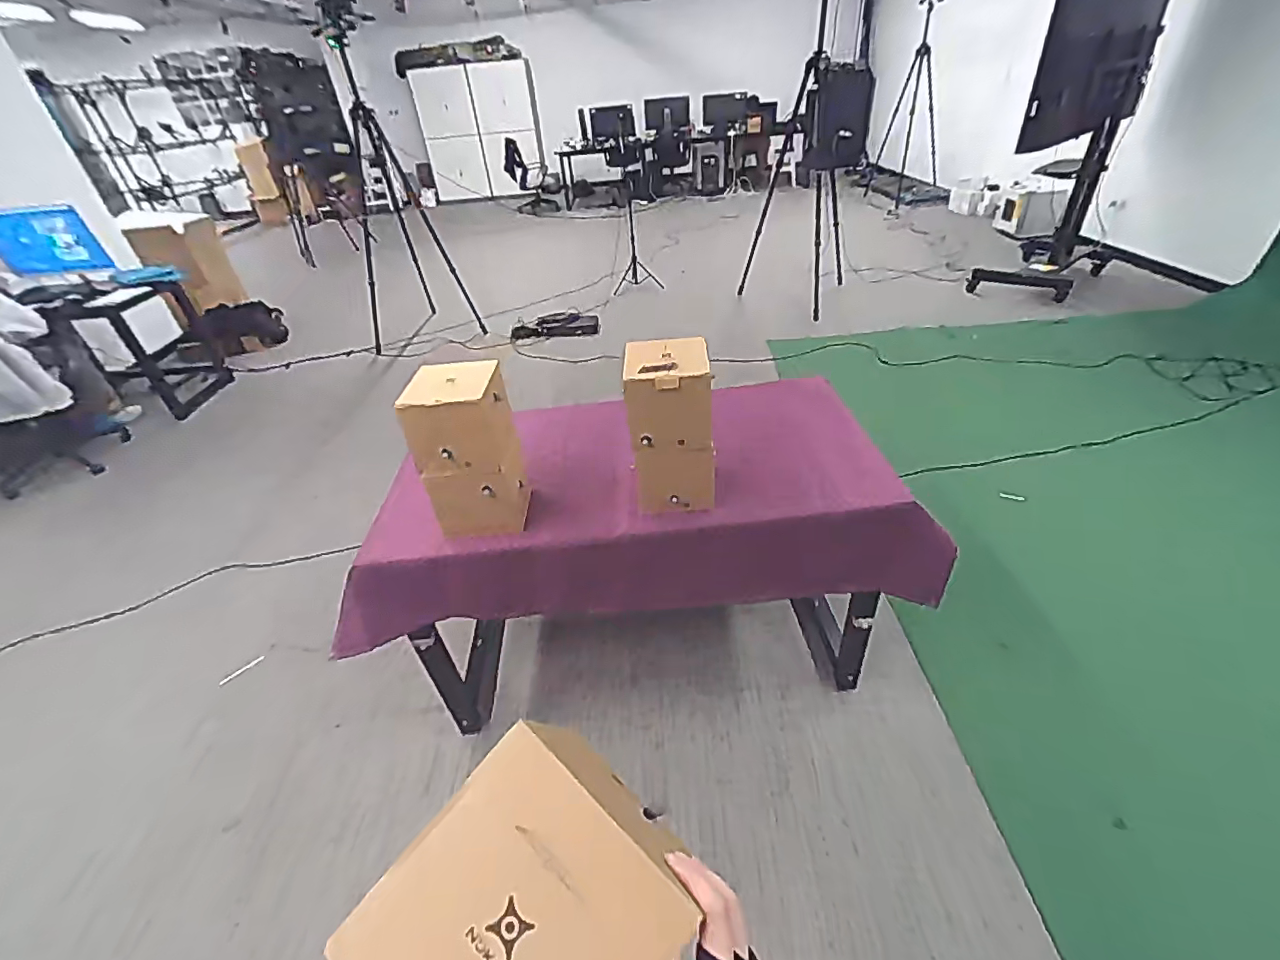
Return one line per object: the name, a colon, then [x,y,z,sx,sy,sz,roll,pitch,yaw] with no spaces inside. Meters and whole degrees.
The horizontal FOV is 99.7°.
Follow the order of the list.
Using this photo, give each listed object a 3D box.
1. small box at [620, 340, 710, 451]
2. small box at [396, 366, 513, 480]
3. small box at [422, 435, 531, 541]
small box: [0.055,-0.170,1.112,0.168,0.176,0.179,-4,36,4]
small box: [-0.367,-0.118,1.112,0.168,0.176,0.179,-5,37,2]
small box: [-0.350,0.018,1.200,0.179,0.176,0.168,-5,36,2]
